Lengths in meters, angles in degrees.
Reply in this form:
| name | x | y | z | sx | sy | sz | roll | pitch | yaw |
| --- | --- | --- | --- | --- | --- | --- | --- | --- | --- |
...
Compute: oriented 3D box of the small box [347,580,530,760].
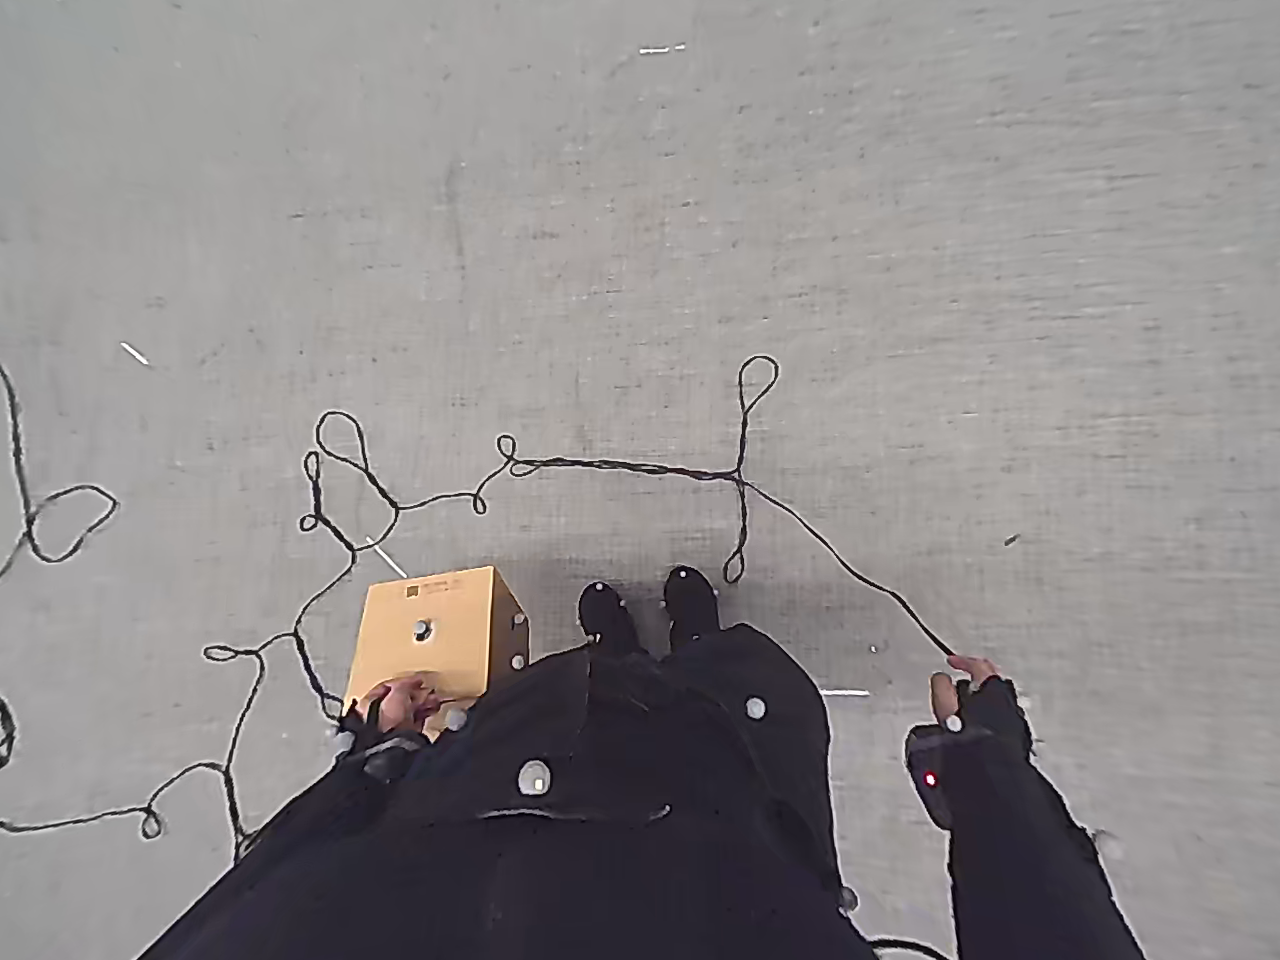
| name | x | y | z | sx | sy | sz | roll | pitch | yaw |
| --- | --- | --- | --- | --- | --- | --- | --- | --- | --- |
| small box | -0.250 | 0.244 | 0.710 | 0.168 | 0.179 | 0.176 | -11 | 51 | 0 |
